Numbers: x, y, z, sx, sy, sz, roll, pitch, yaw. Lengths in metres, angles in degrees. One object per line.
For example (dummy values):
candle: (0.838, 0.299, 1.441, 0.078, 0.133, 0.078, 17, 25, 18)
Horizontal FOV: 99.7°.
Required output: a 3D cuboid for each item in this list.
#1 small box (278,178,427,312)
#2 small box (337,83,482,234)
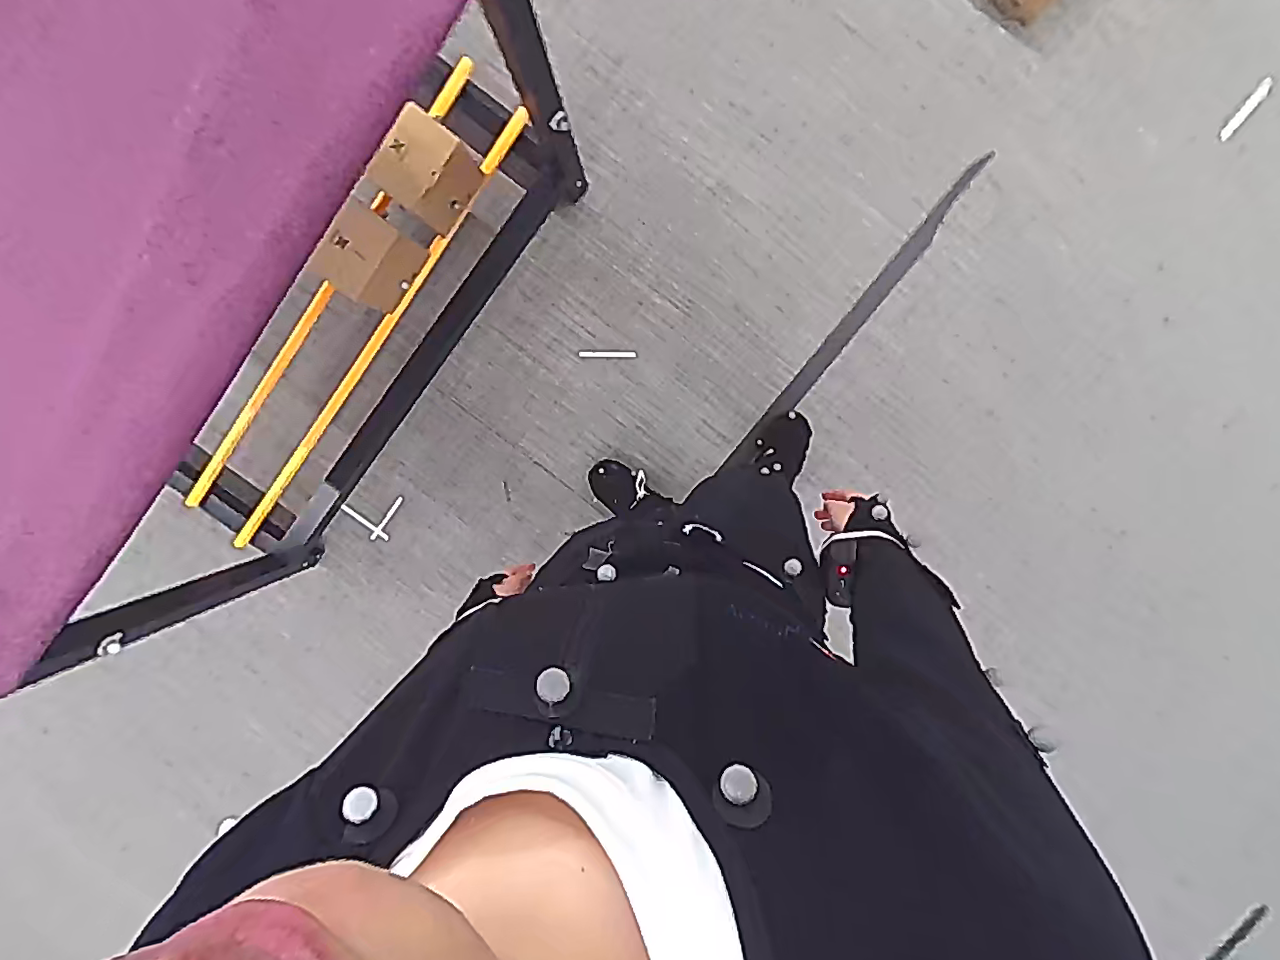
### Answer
small box: (-0.582, -0.471, 1.118, 0.179, 0.176, 0.168, 36, 97, -5)
small box: (-0.455, -0.634, 1.096, 0.179, 0.176, 0.168, 37, 97, -4)
